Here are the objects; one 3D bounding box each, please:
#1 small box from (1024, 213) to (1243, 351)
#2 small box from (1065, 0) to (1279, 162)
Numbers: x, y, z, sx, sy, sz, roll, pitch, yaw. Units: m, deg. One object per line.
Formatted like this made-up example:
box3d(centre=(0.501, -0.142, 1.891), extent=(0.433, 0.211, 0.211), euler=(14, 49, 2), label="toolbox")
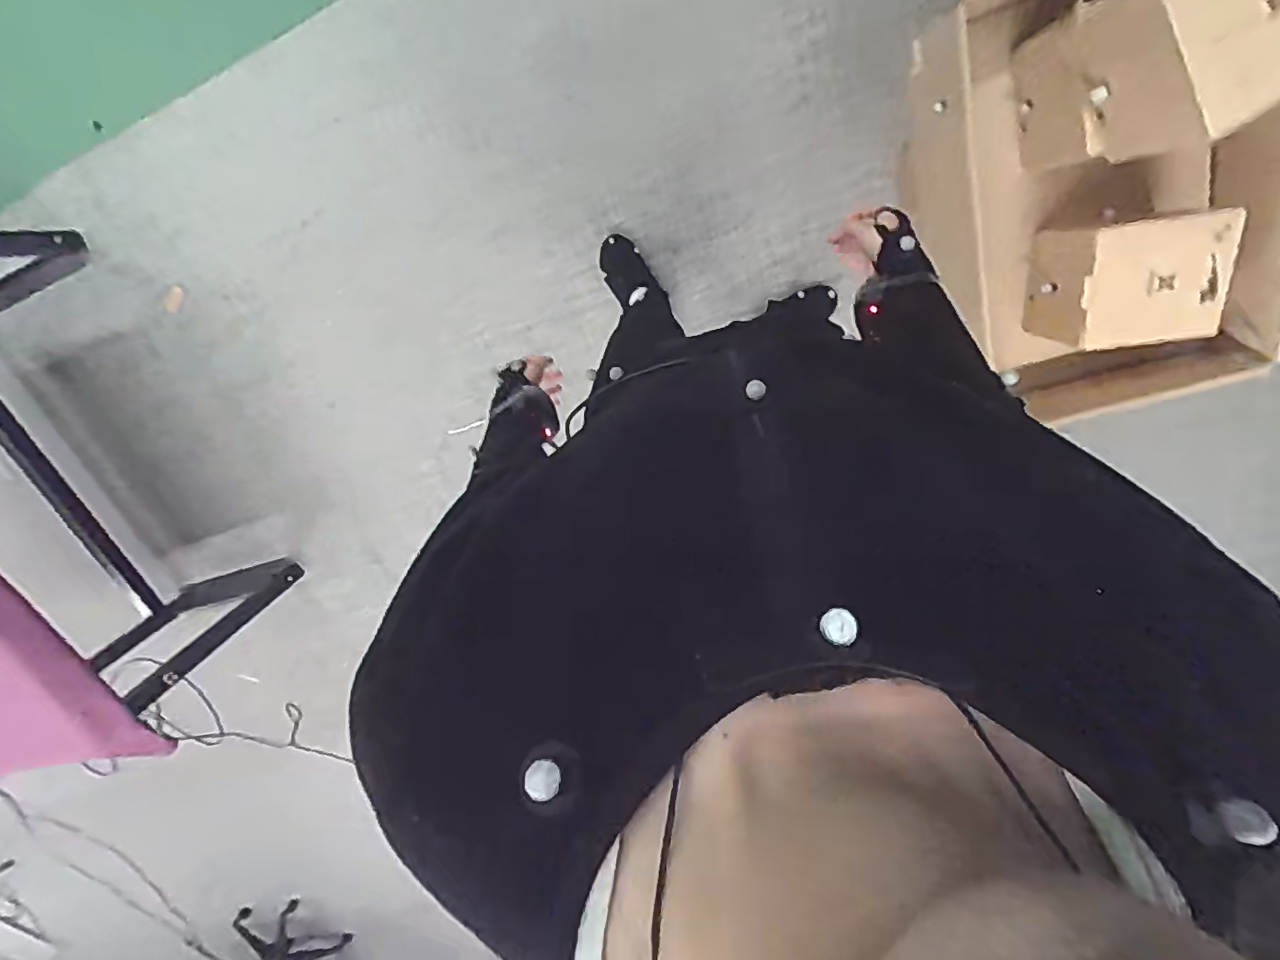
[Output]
box3d(centre=(0.723, -0.299, 0.822), extent=(0.179, 0.176, 0.168), euler=(-5, 113, 10), label="small box")
box3d(centre=(0.616, -0.477, 0.576), extent=(0.179, 0.176, 0.168), euler=(-31, 105, 20), label="small box")
